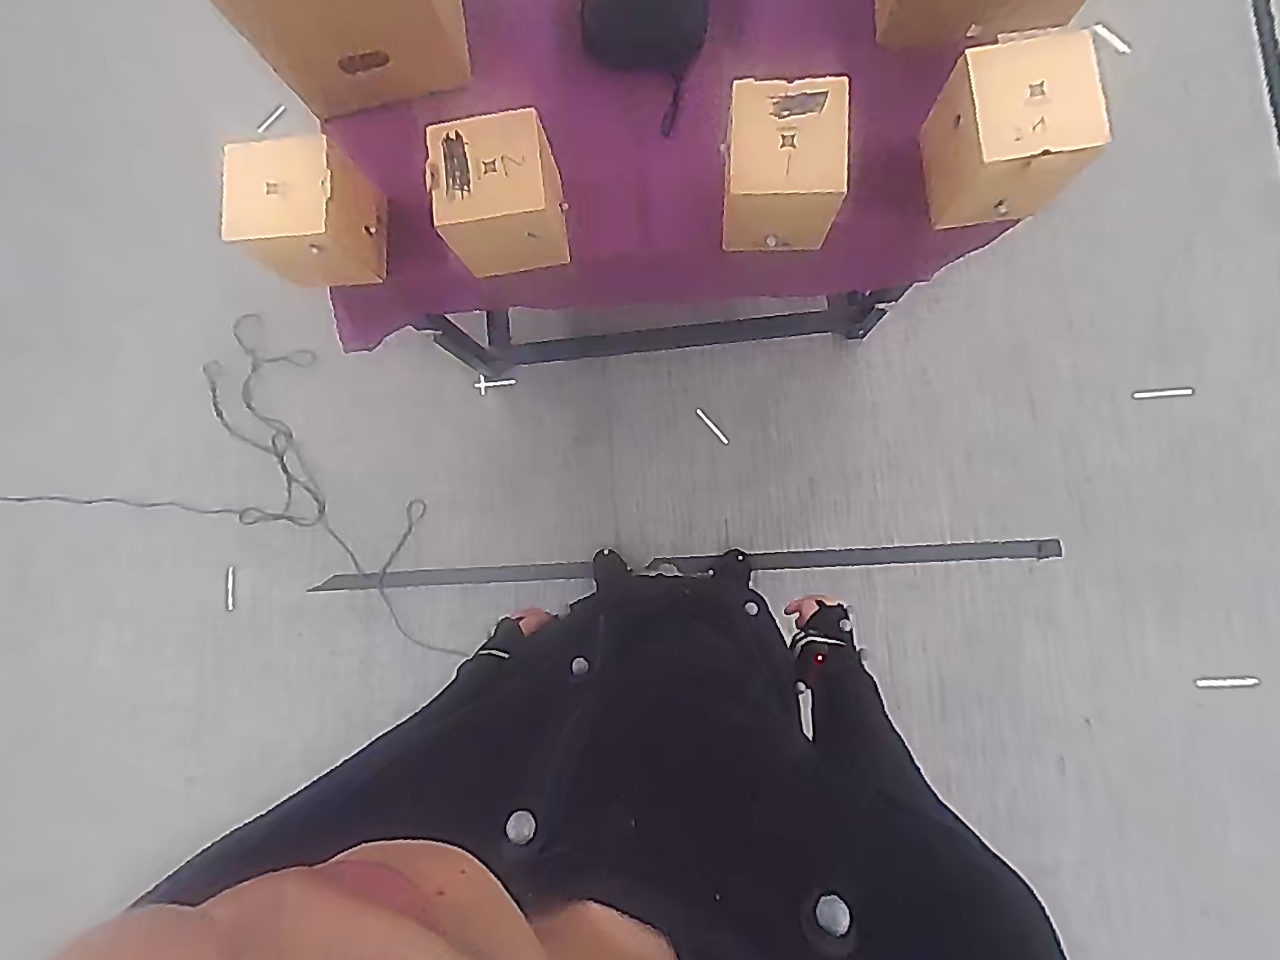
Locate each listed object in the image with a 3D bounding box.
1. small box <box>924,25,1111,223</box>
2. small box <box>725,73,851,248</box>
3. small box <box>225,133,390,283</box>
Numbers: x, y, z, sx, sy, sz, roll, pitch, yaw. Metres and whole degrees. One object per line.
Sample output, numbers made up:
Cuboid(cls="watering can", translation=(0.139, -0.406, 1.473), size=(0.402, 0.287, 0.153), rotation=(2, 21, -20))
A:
Cuboid(cls="small box", translation=(0.552, -0.524, 0.818), size=(0.168, 0.176, 0.179), rotation=(-5, 85, 6))
Cuboid(cls="small box", translation=(0.223, -0.491, 0.850), size=(0.168, 0.176, 0.179), rotation=(2, 87, 6))
Cuboid(cls="small box", translation=(-0.558, -0.452, 0.924), size=(0.179, 0.176, 0.168), rotation=(-3, 85, 4))
